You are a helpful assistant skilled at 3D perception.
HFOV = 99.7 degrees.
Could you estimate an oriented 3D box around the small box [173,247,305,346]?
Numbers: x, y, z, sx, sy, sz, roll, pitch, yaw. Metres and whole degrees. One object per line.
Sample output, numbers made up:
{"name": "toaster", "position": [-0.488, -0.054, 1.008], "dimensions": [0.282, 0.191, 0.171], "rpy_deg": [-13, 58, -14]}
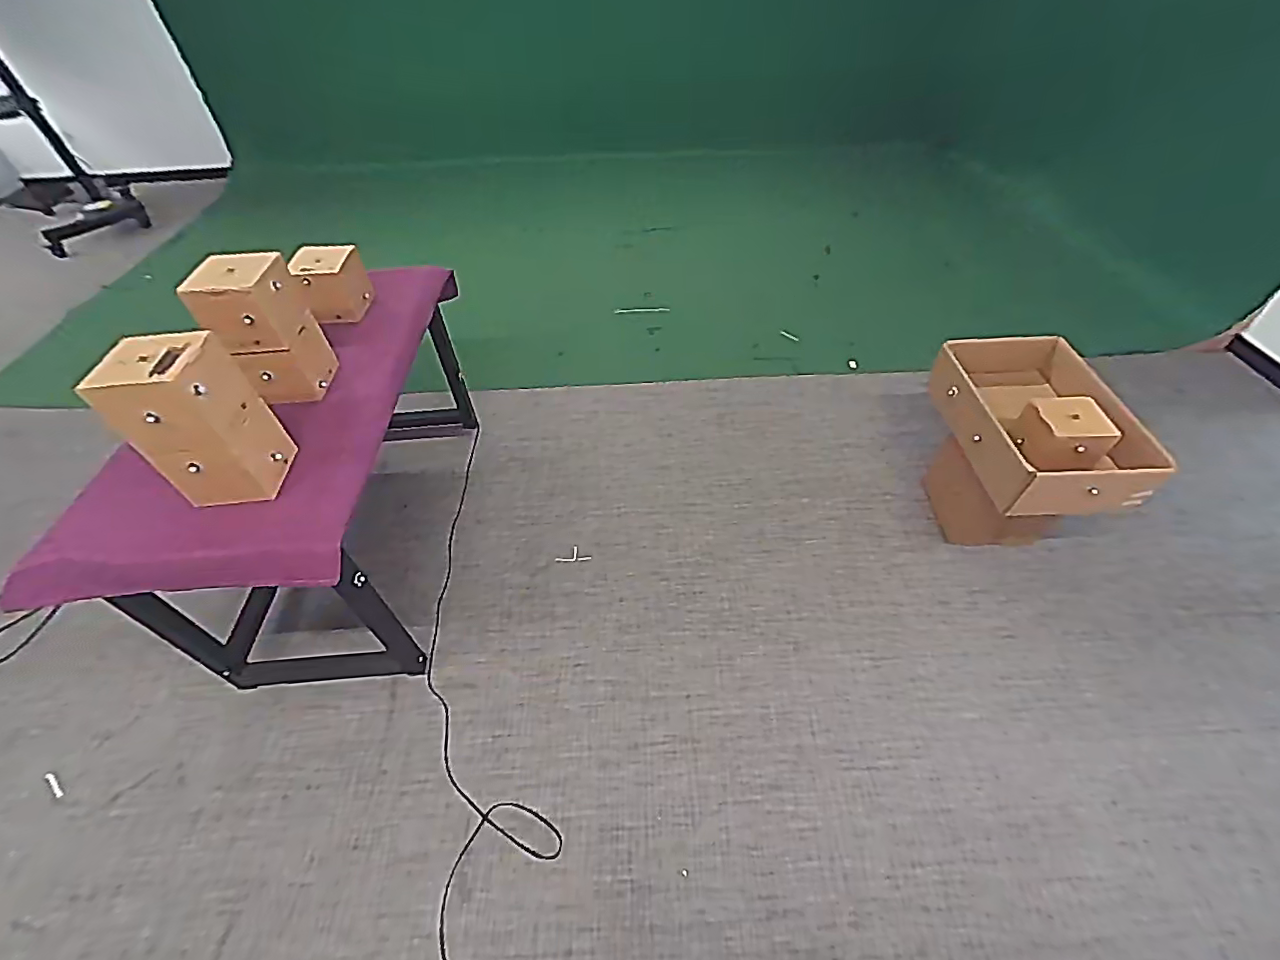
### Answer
{"name": "small box", "position": [-0.945, -0.434, 1.296], "dimensions": [0.168, 0.176, 0.179], "rpy_deg": [-3, 48, -2]}

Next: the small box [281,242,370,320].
{"name": "small box", "position": [-0.967, -0.618, 1.677], "dimensions": [0.168, 0.176, 0.179], "rpy_deg": [-3, 48, -1]}

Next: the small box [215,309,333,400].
{"name": "small box", "position": [-0.944, -0.326, 1.418], "dimensions": [0.179, 0.176, 0.168], "rpy_deg": [-5, 48, -1]}

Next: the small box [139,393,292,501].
{"name": "small box", "position": [-0.915, -0.069, 1.186], "dimensions": [0.179, 0.176, 0.168], "rpy_deg": [-5, 49, -3]}

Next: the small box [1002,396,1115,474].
{"name": "small box", "position": [1.222, -0.130, 1.594], "dimensions": [0.179, 0.176, 0.168], "rpy_deg": [-1, 49, 1]}
